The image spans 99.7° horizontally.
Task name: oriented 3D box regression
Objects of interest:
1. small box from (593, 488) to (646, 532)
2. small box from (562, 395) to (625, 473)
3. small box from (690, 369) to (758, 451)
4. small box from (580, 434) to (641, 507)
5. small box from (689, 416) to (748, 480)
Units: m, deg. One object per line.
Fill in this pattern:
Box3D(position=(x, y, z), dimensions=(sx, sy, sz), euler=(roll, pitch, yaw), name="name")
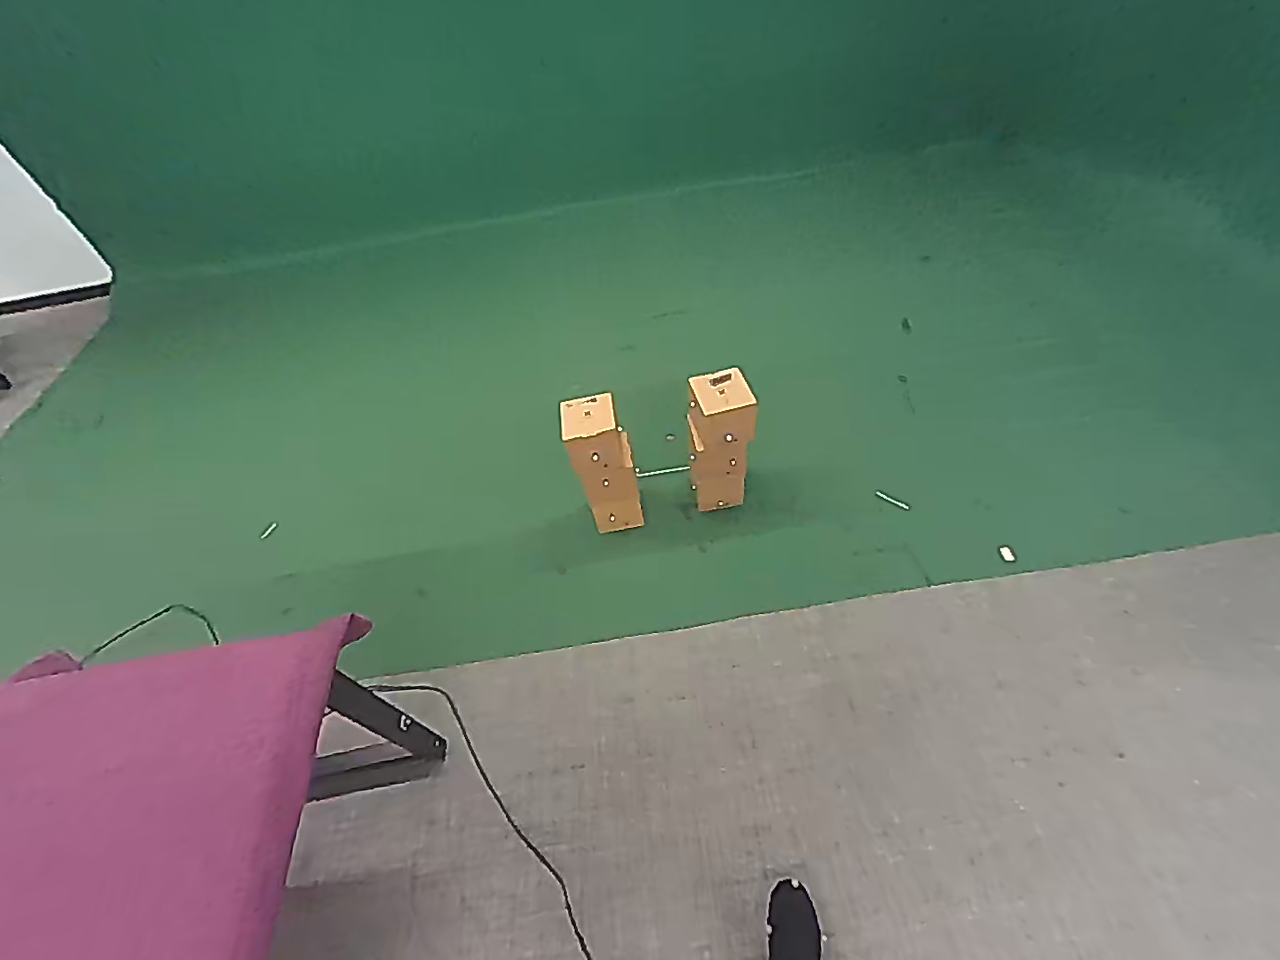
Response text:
Box3D(position=(-0.079, 0.073, 1.959), dimensions=(0.168, 0.176, 0.179), euler=(-11, 49, 1), name="small box")
Box3D(position=(-0.145, -0.139, 1.716), dimensions=(0.168, 0.176, 0.179), euler=(-11, 50, 1), name="small box")
Box3D(position=(0.261, -0.219, 1.717), dimensions=(0.168, 0.176, 0.179), euler=(-14, 52, -4), name="small box")
Box3D(position=(-0.103, -0.028, 1.831), dimensions=(0.179, 0.176, 0.168), euler=(-11, 49, 0), name="small box")
Box3D(position=(0.265, -0.114, 1.843), dimensions=(0.168, 0.176, 0.179), euler=(-10, 50, -1), name="small box")
